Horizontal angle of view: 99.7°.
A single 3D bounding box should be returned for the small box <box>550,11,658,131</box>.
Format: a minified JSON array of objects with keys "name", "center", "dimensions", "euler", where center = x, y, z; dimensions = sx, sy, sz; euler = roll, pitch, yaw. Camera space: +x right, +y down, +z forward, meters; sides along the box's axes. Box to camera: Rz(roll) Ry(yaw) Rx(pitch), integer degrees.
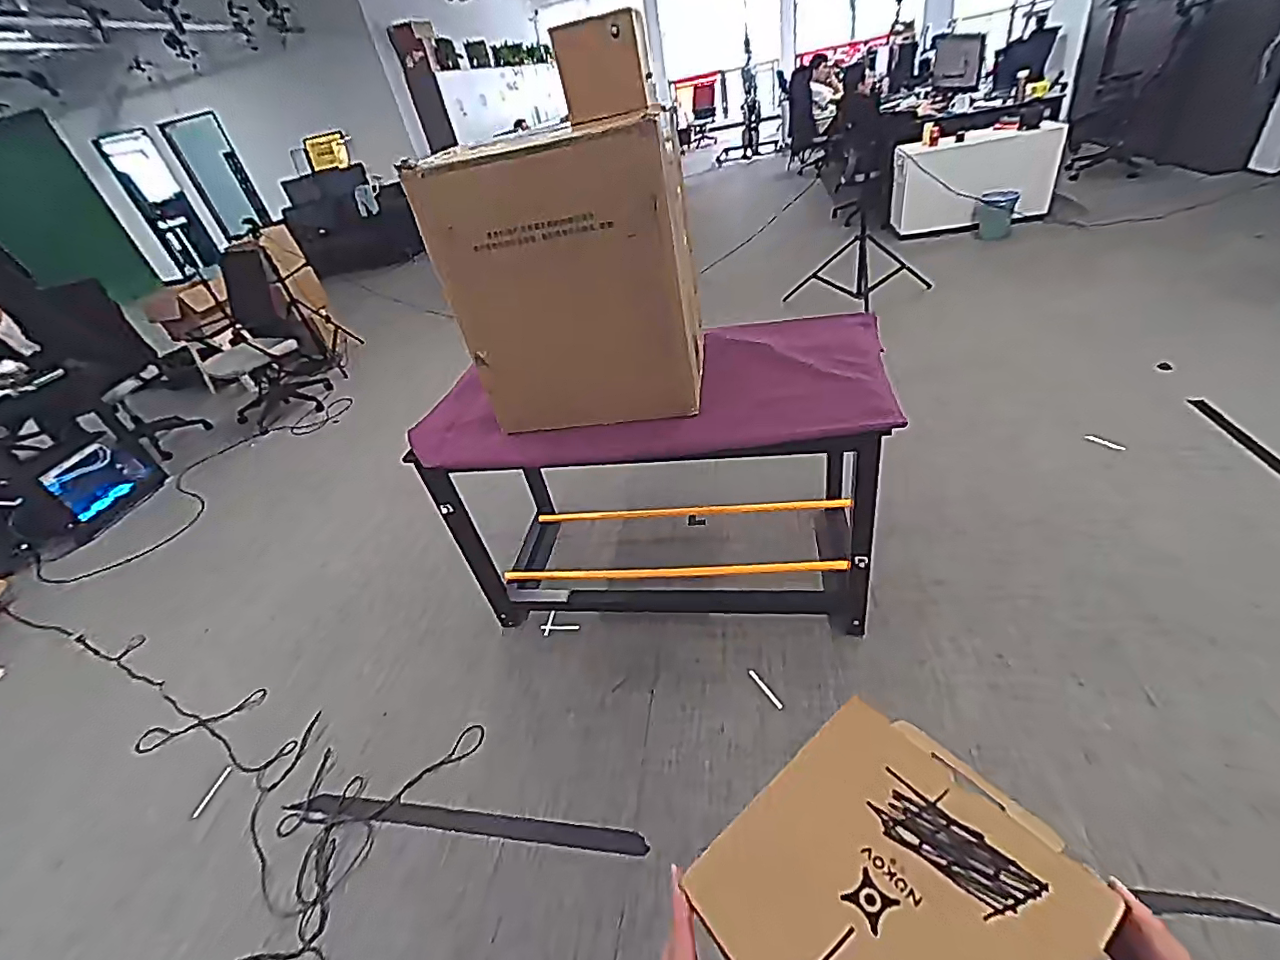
[{"name":"small box","center":[-0.069,-0.863,1.153],"dimensions":[0.179,0.176,0.168],"euler":[-4,37,13]}]
